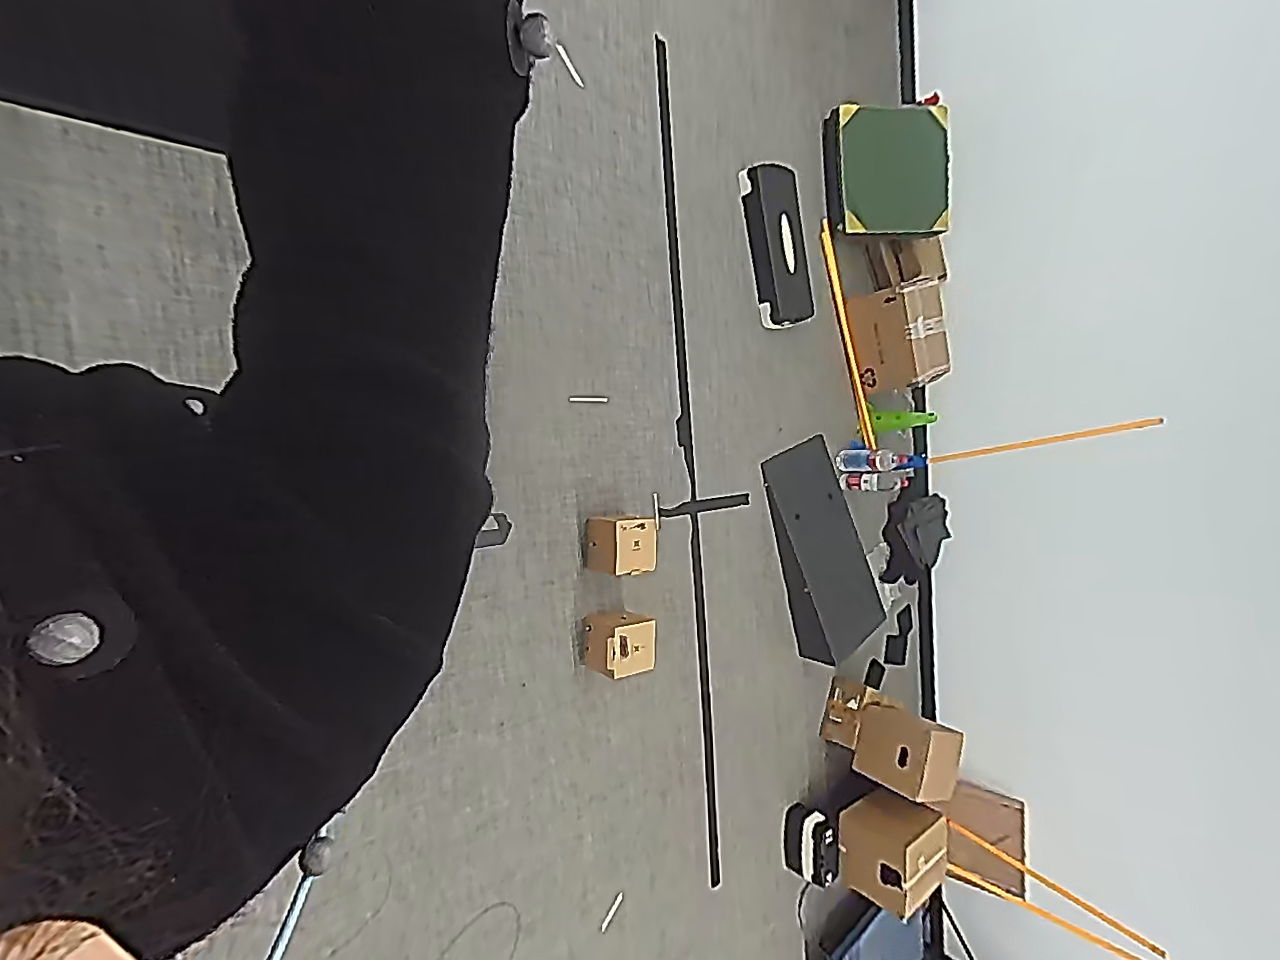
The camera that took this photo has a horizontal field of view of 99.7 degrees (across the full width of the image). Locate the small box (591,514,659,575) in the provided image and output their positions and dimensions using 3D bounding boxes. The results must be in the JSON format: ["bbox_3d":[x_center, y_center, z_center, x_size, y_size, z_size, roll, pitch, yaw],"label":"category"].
[{"bbox_3d":[-0.053,0.210,1.806,0.168,0.176,0.179,0,91,-39],"label":"small box"}]

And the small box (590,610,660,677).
[{"bbox_3d":[-0.054,0.542,1.811,0.179,0.176,0.168,1,90,-40],"label":"small box"}]
